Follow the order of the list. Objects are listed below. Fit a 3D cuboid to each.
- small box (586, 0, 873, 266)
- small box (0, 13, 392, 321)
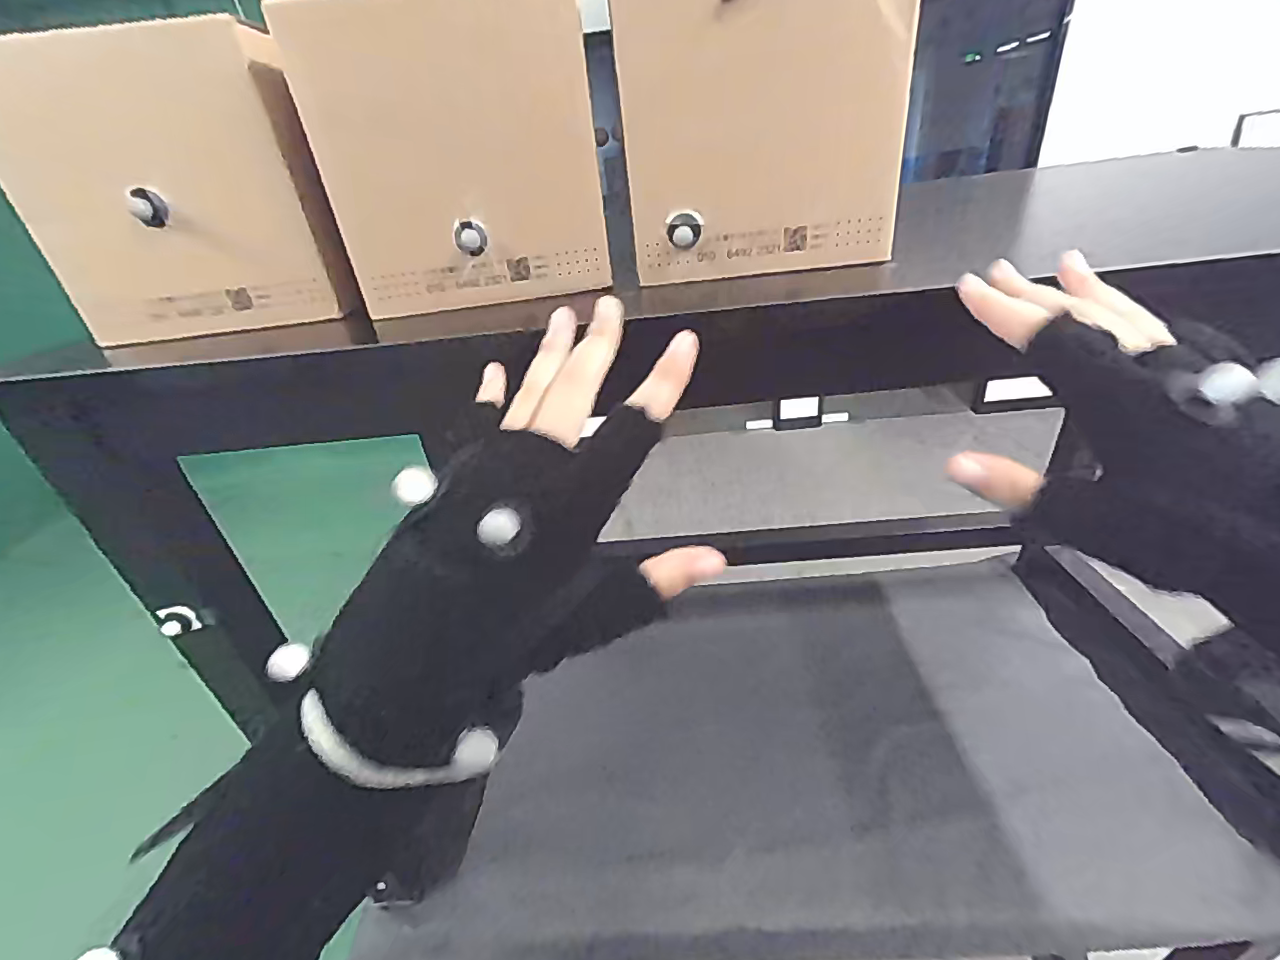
[{"bbox_3d":[0.064,-0.261,0.400,0.168,0.176,0.179,-4,30,6],"label":"small box"},{"bbox_3d":[-0.316,-0.225,0.419,0.168,0.176,0.179,-7,30,-3],"label":"small box"}]
